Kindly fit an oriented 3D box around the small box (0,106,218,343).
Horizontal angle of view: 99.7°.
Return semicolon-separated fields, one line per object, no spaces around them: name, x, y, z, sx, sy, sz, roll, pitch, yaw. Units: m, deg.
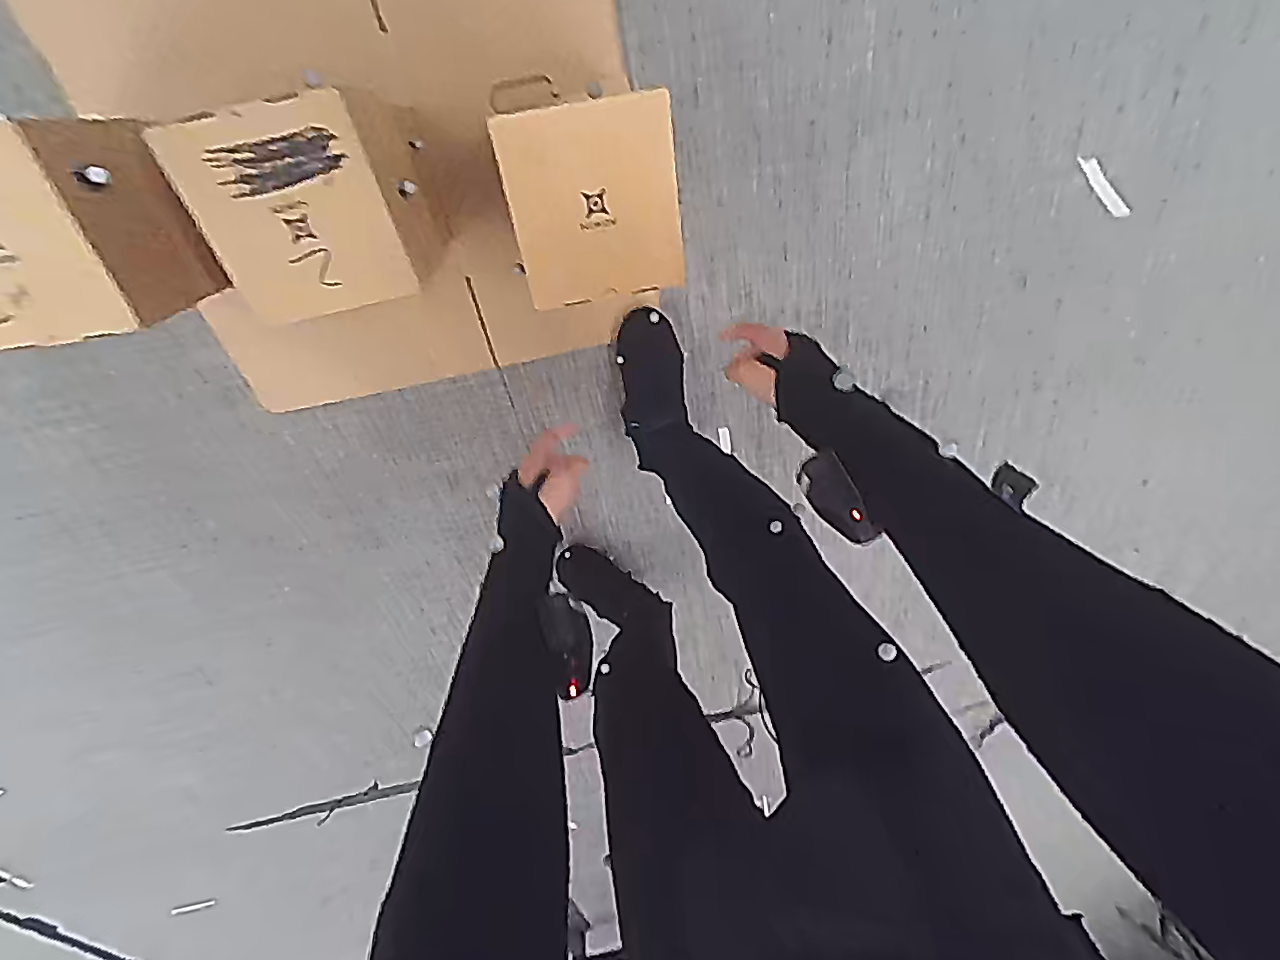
small box;-0.579;-0.252;0.533;0.168;0.176;0.179;-9;125;-2

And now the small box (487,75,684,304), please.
small box;-0.057;-0.313;0.584;0.168;0.176;0.179;-12;125;-2

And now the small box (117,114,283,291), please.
small box;-0.590;-0.340;0.673;0.168;0.176;0.179;-10;125;-2

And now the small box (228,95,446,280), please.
small box;-0.362;-0.372;0.689;0.168;0.176;0.179;-9;125;-3
